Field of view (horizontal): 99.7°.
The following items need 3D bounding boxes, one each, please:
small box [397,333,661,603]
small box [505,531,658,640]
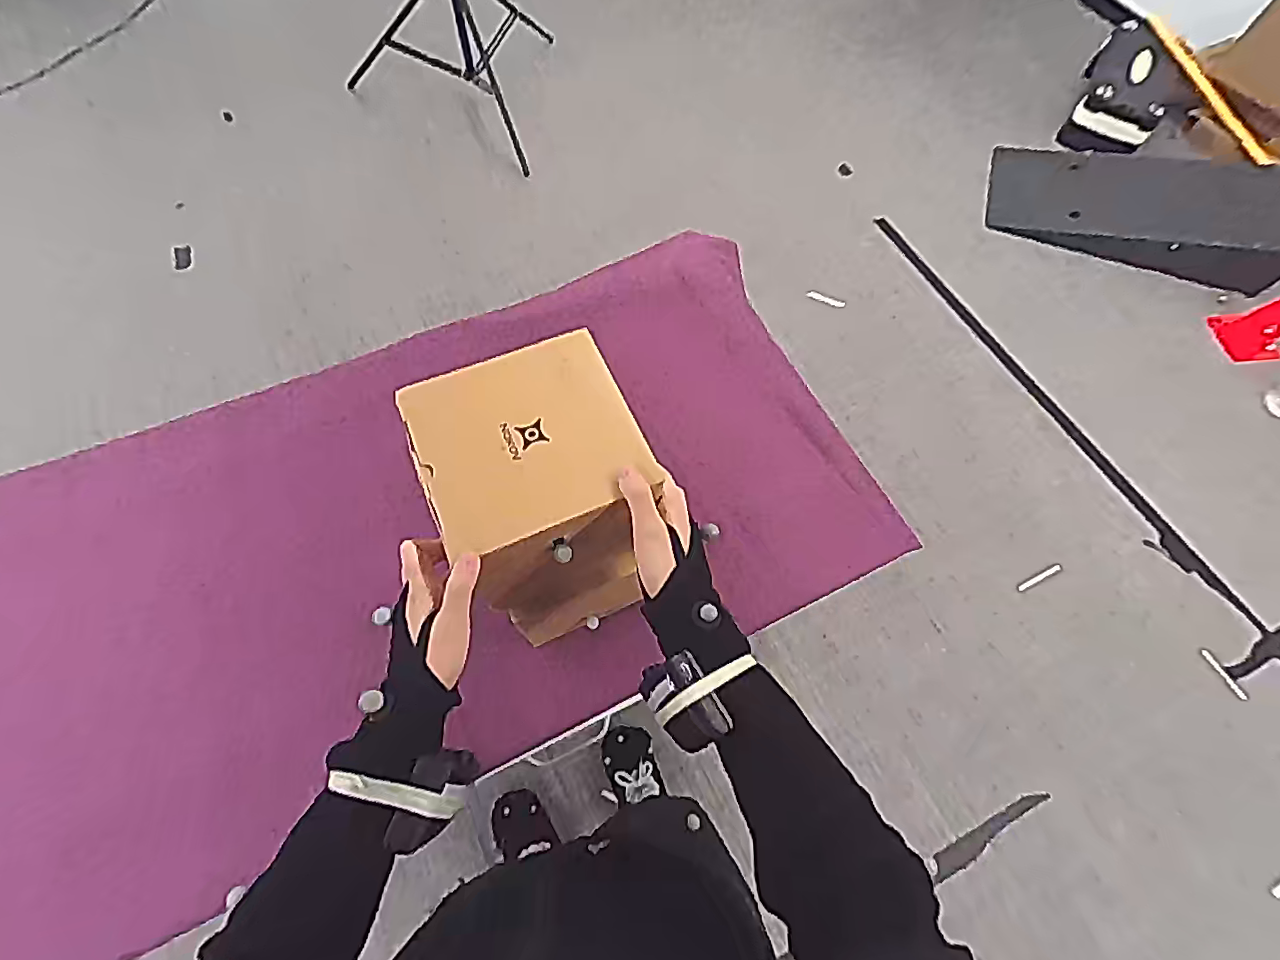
[{"bbox_3d":[-0.097,-0.002,0.514,0.179,0.176,0.168,-22,69,-11],"label":"small box"},{"bbox_3d":[-0.092,0.074,0.658,0.168,0.176,0.179,-22,69,-11],"label":"small box"}]
